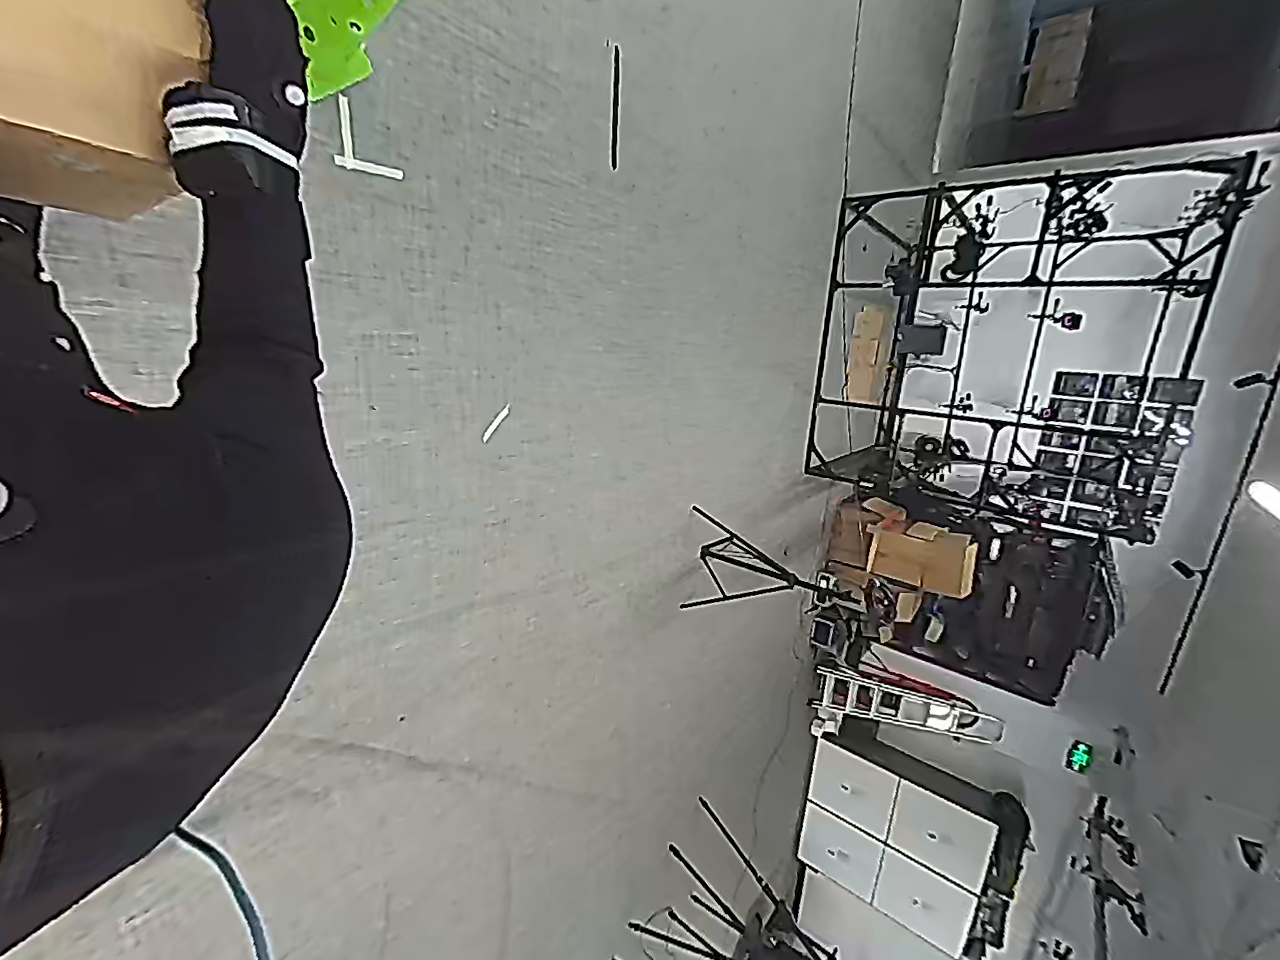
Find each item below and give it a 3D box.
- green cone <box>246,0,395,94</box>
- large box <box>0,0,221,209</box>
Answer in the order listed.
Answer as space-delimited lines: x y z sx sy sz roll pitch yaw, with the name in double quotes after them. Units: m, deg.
-0.602 -0.976 1.119 0.202 0.368 0.200 -55 141 -28 "green cone"
-0.559 -0.399 0.327 0.408 0.320 0.320 -9 108 -53 "large box"
